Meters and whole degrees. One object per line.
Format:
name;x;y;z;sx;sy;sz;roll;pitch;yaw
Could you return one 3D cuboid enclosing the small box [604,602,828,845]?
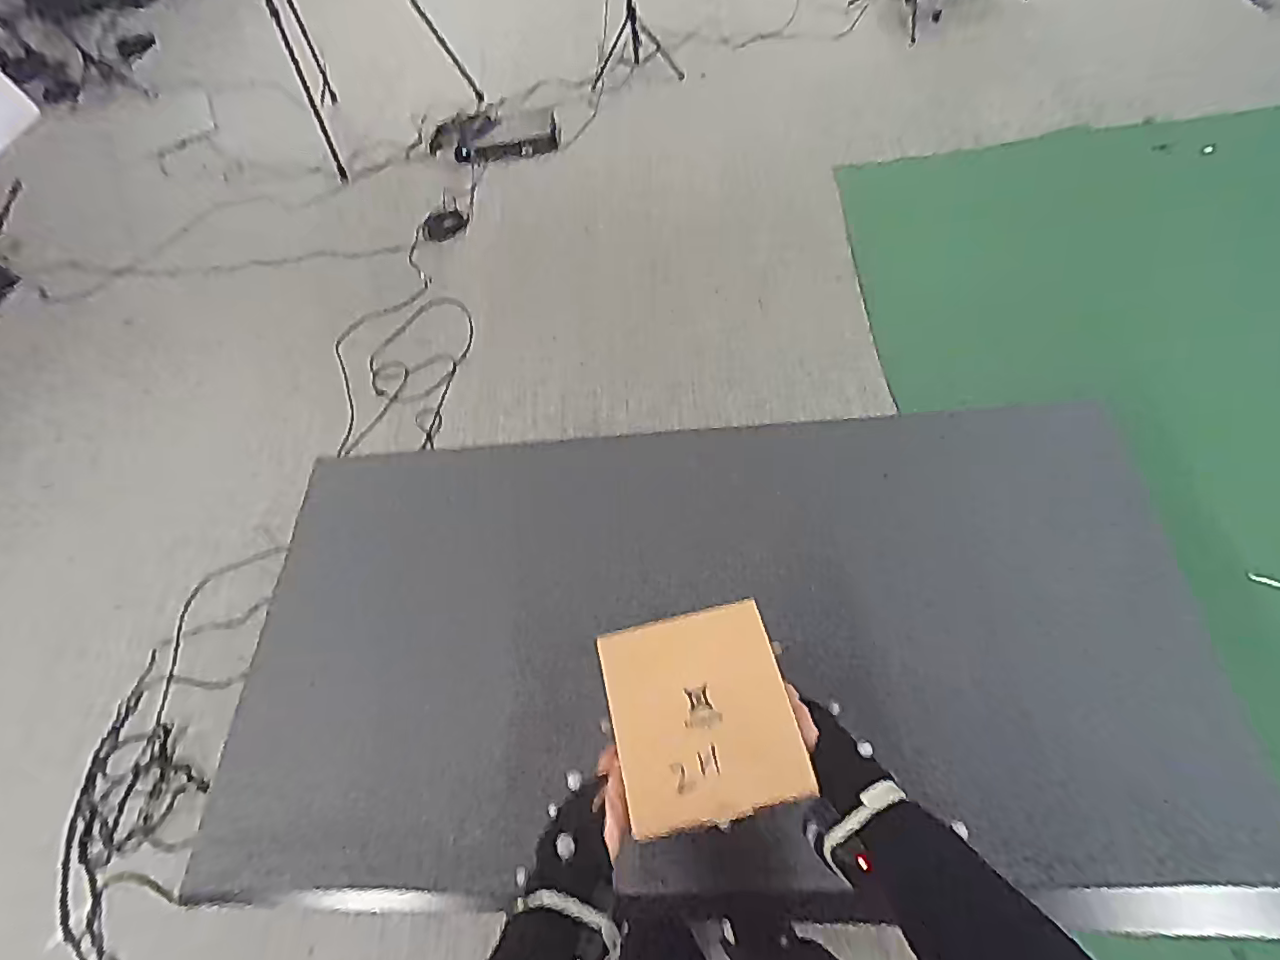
small box;0.066;0.250;0.557;0.168;0.176;0.179;-14;60;-3
